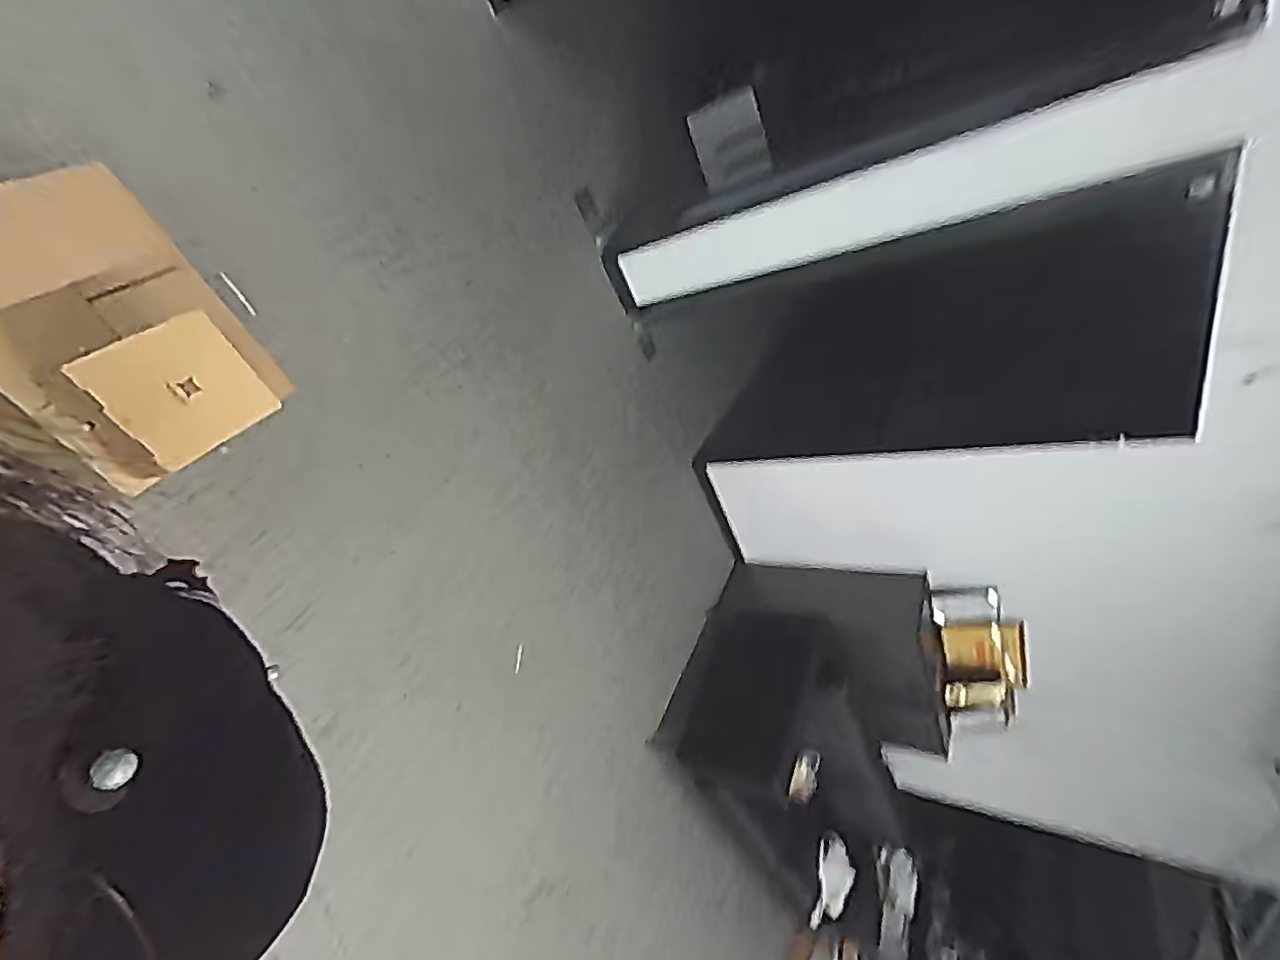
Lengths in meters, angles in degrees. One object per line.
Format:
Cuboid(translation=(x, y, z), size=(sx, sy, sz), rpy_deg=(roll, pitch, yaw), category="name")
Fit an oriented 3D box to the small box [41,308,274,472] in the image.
Cuboid(translation=(-0.697, -0.127, 0.786), size=(0.179, 0.176, 0.168), rpy_deg=(-54, 130, -40), category="small box")
